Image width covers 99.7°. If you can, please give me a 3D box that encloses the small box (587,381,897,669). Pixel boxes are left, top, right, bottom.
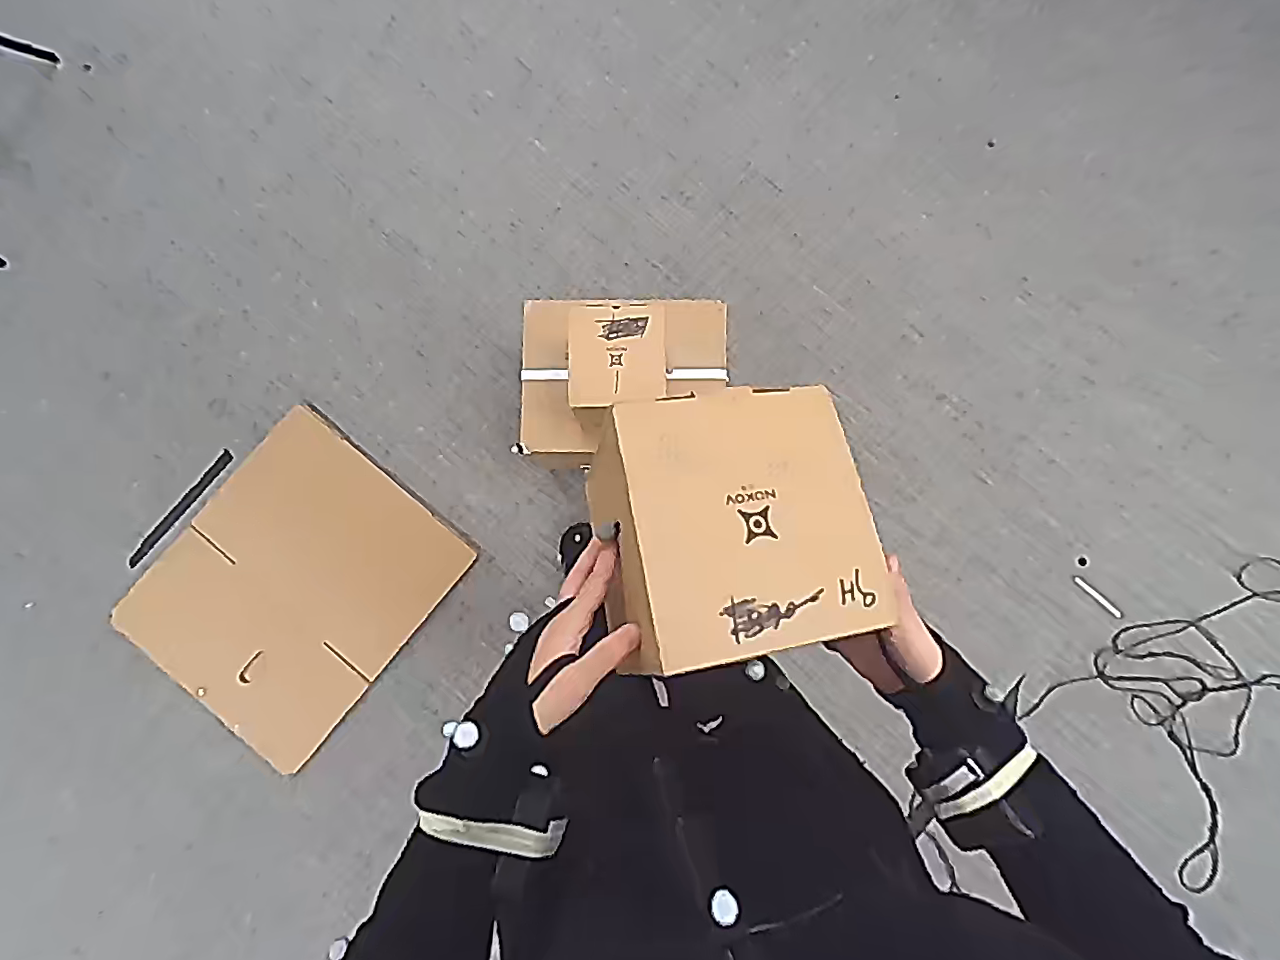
[{"bbox_3d":[0.056,0.043,0.427,0.168,0.176,0.179,-7,72,-14],"label":"small box"}]

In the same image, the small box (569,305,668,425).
[{"bbox_3d":[-0.037,-0.201,0.981,0.168,0.176,0.179,-1,86,0],"label":"small box"}]
